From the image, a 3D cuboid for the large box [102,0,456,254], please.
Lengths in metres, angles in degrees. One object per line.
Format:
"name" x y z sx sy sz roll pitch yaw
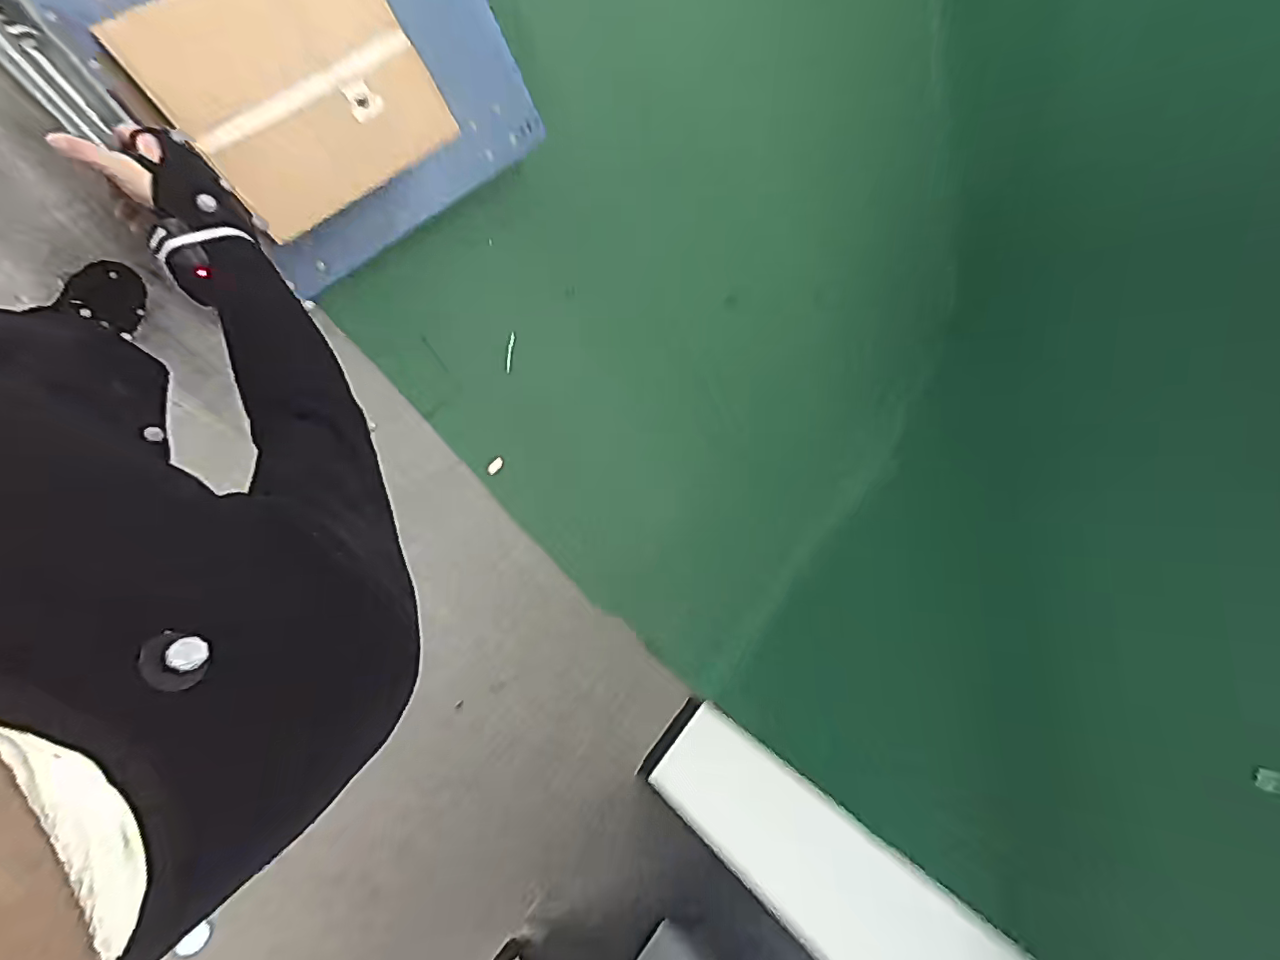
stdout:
"large box" -0.637 -0.670 0.994 0.408 0.320 0.320 -46 130 -19
